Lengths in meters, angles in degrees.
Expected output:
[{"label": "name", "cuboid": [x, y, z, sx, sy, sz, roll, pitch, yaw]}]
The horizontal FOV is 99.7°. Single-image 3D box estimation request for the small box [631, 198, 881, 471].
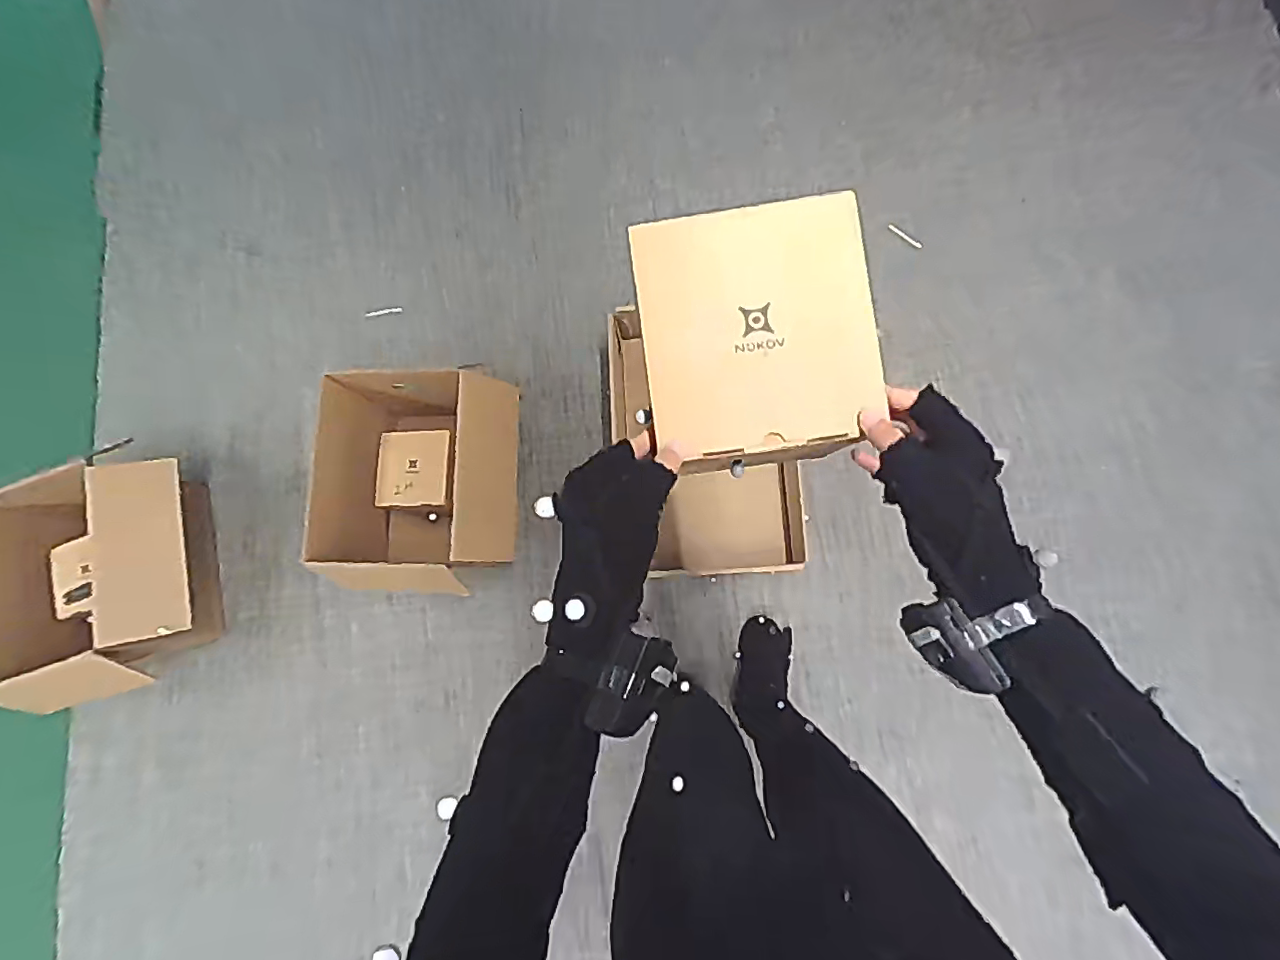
[{"label": "small box", "cuboid": [0.085, -0.108, 0.474, 0.168, 0.176, 0.179, -8, 87, 2]}]
